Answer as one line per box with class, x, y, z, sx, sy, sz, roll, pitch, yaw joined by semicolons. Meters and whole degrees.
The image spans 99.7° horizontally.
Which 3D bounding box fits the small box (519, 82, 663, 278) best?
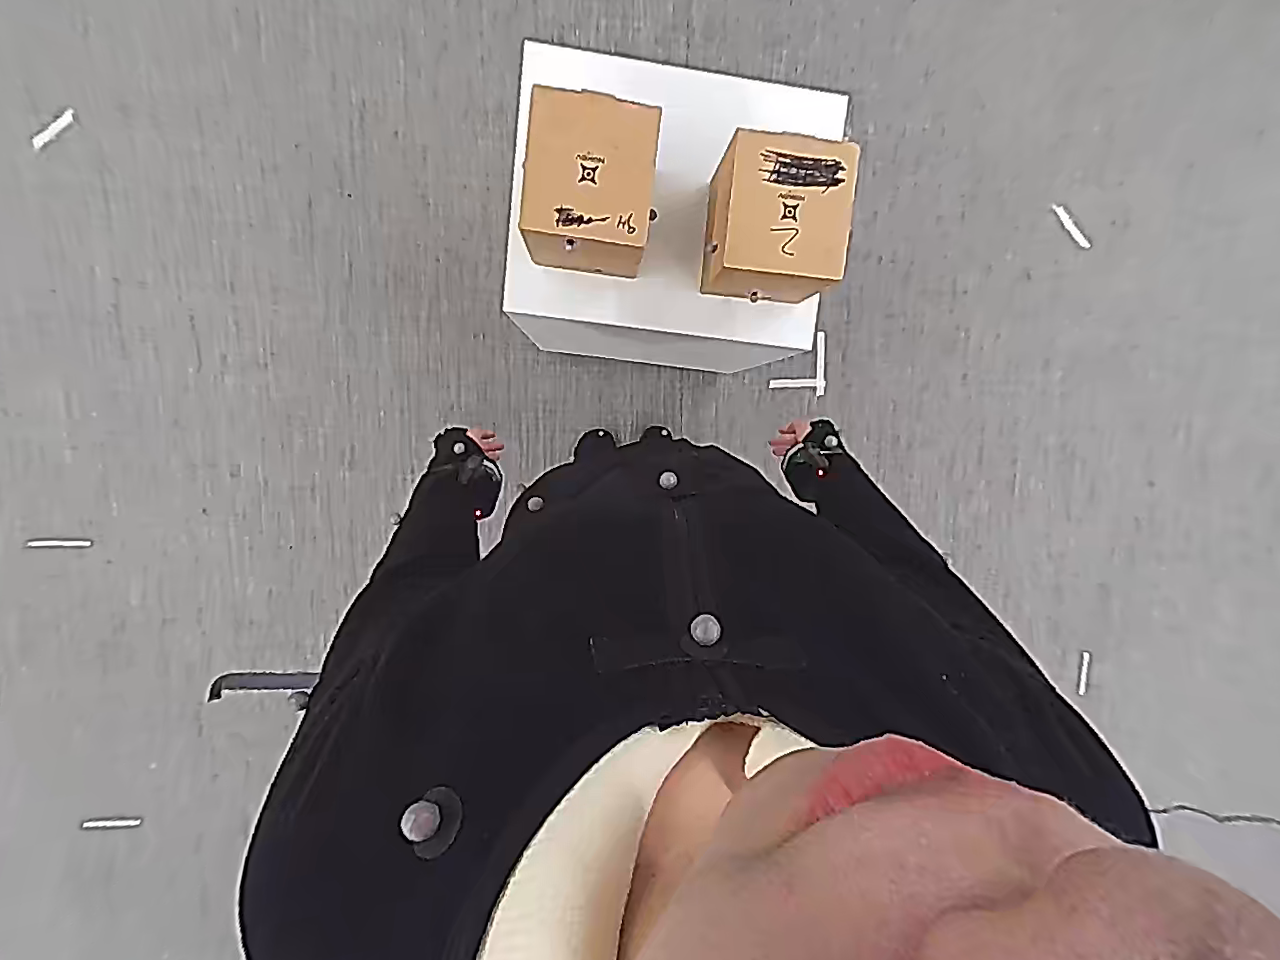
small box;-0.069;-0.403;0.759;0.168;0.176;0.179;7;96;-5
